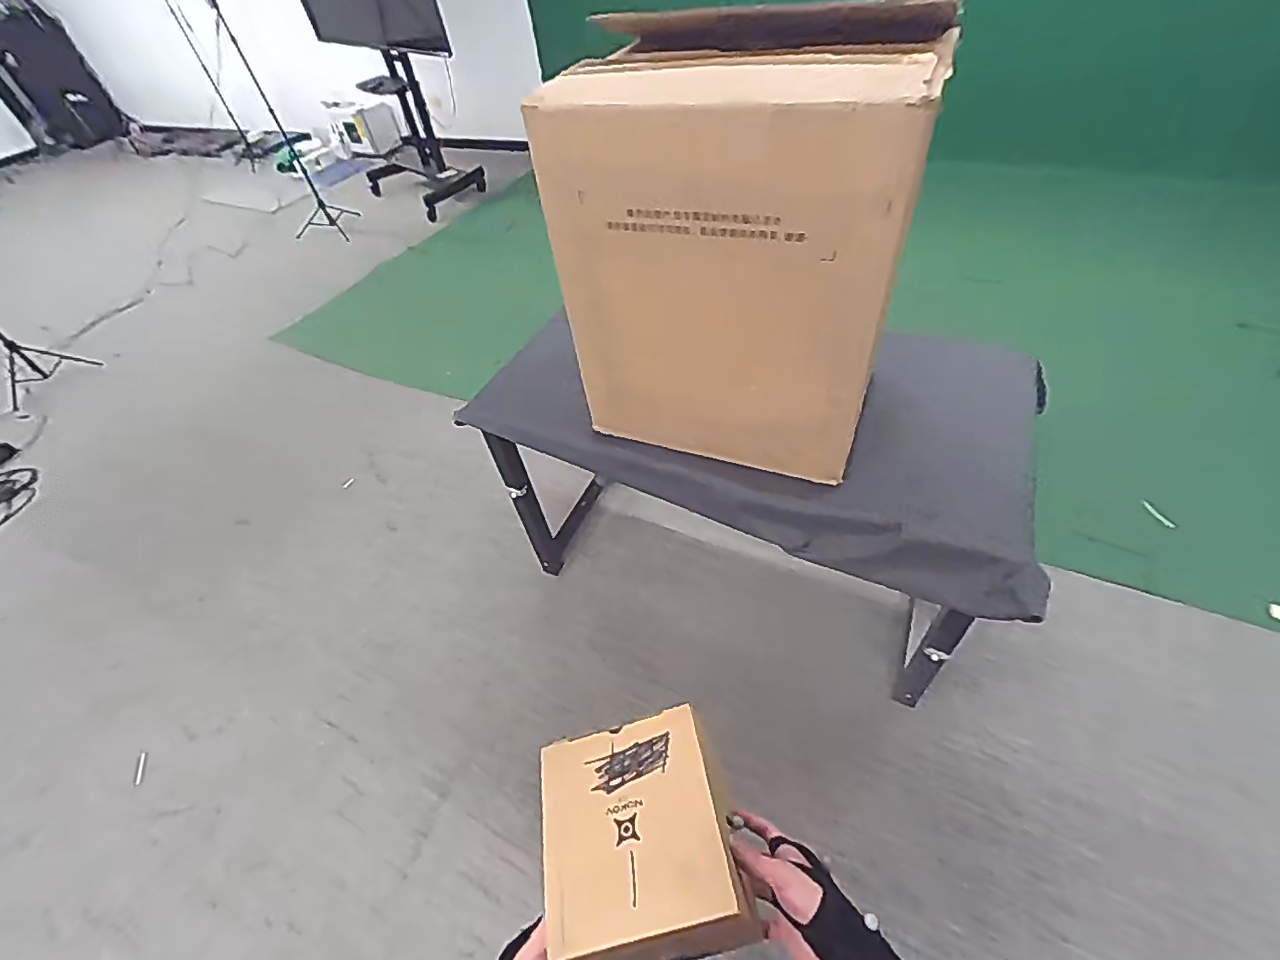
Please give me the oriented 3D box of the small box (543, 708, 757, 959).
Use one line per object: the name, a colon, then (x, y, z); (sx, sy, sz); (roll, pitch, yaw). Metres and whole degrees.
small box: (0.009, 0.369, 0.553); (0.168, 0.176, 0.179); (-18, 42, 4)
